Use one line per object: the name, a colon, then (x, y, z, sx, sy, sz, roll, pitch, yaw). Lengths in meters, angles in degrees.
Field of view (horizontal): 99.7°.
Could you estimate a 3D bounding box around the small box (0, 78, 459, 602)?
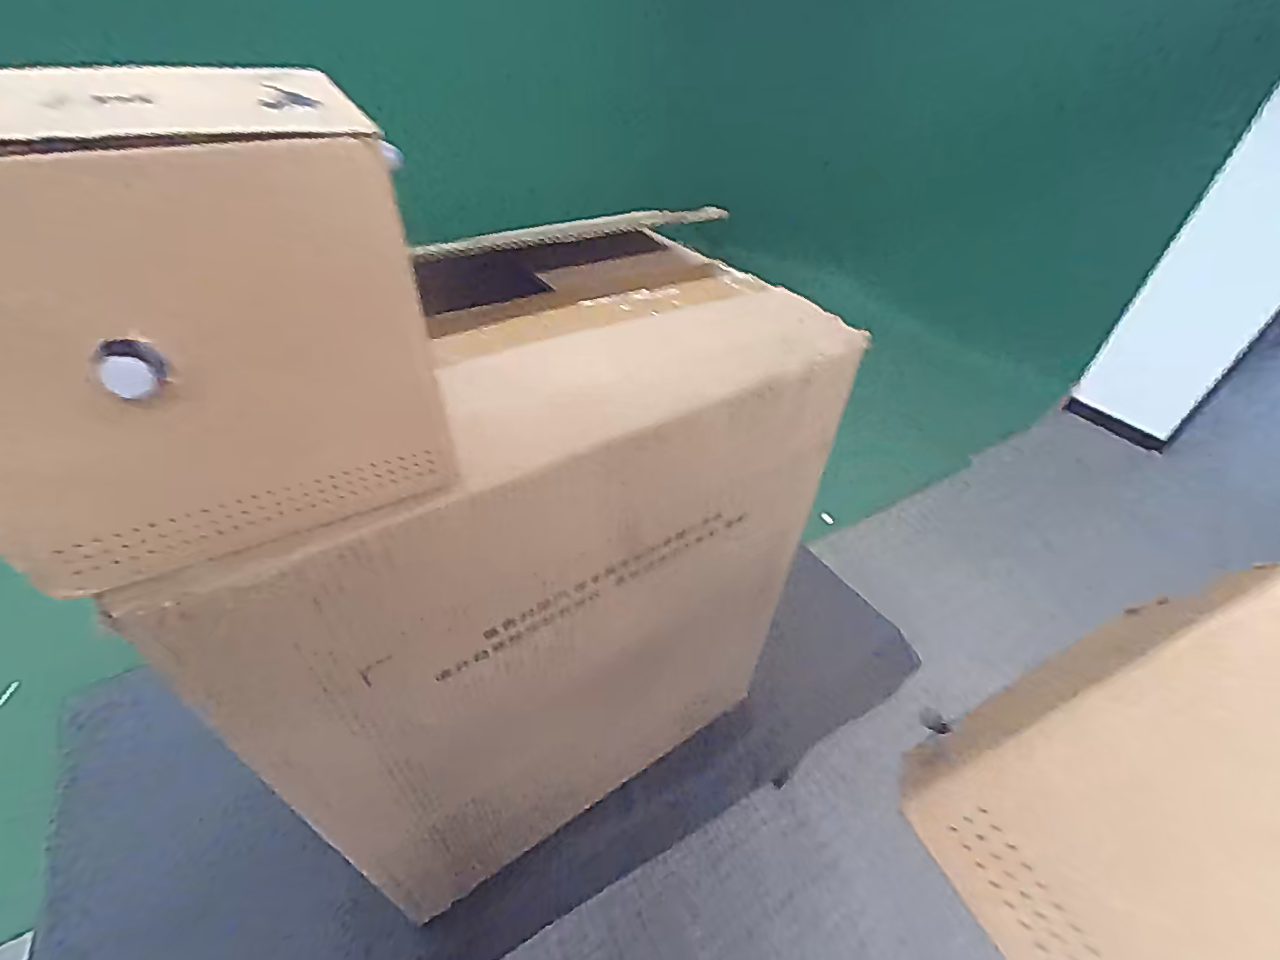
small box: (-0.207, -0.072, 0.256, 0.179, 0.176, 0.168, -20, 49, -23)
